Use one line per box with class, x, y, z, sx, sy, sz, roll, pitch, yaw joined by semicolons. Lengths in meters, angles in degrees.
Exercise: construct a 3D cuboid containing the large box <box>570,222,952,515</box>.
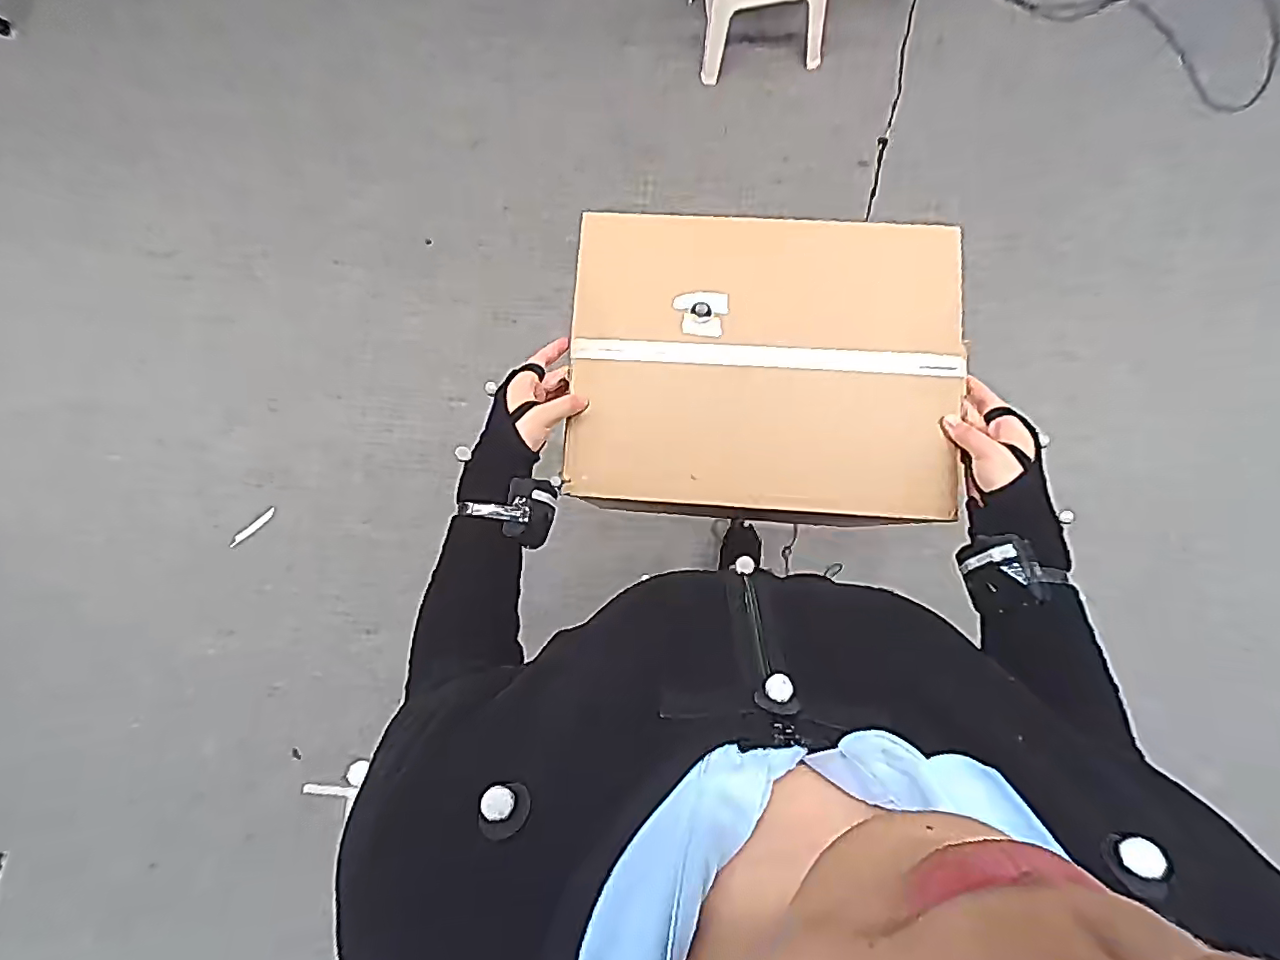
large box;0.139;-0.116;0.728;0.408;0.320;0.320;3;83;4
